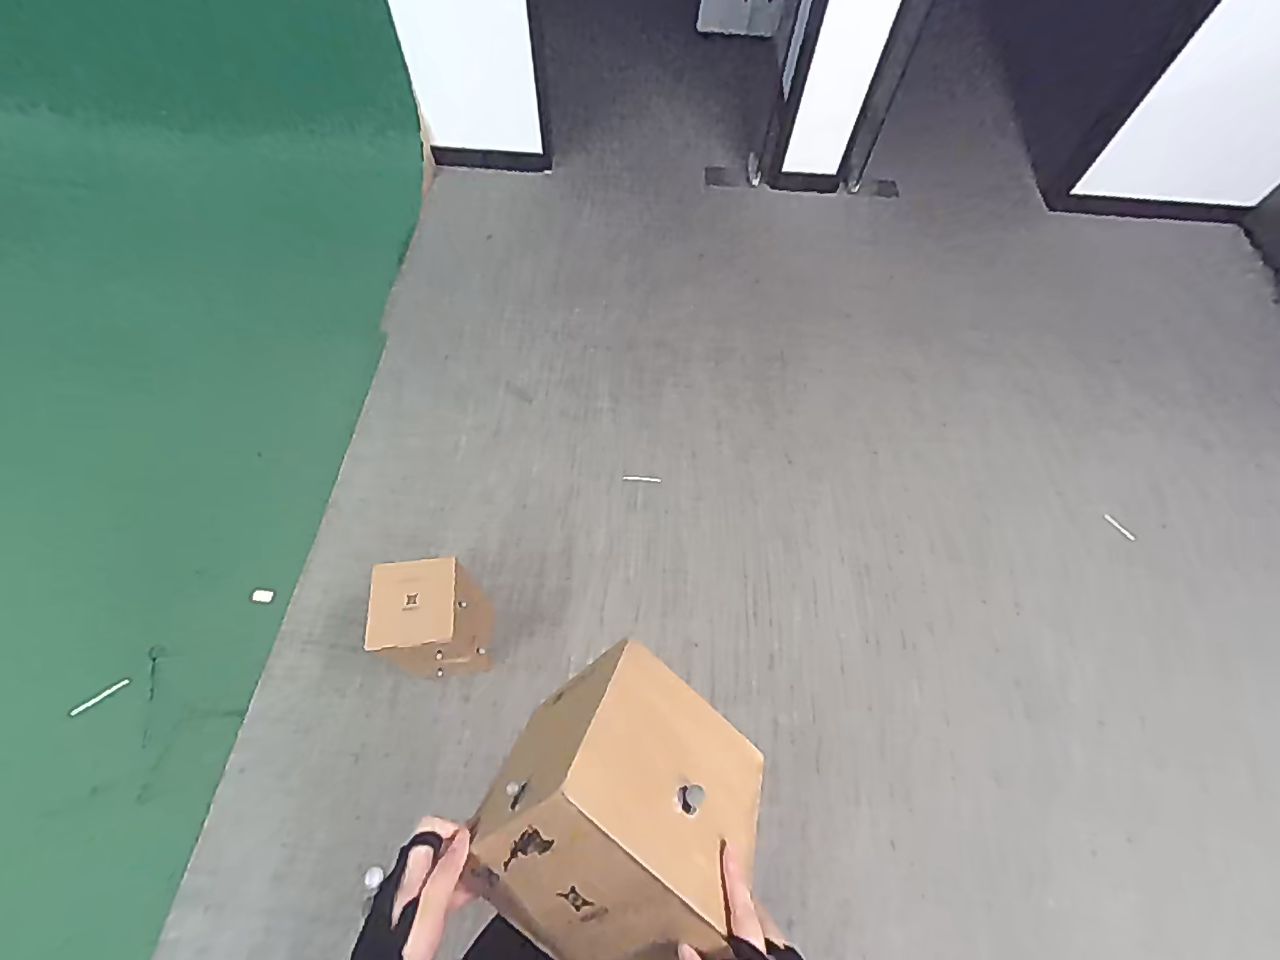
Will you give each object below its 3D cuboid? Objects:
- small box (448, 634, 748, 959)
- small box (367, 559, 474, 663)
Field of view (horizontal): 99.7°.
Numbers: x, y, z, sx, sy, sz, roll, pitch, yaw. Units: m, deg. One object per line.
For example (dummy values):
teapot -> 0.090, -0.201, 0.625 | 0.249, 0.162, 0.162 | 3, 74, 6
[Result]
small box -> -0.023, 0.276, 0.480 | 0.179, 0.168, 0.176 | 43, 28, -4
small box -> -0.453, 0.284, 1.145 | 0.168, 0.176, 0.179 | -4, 61, -6
